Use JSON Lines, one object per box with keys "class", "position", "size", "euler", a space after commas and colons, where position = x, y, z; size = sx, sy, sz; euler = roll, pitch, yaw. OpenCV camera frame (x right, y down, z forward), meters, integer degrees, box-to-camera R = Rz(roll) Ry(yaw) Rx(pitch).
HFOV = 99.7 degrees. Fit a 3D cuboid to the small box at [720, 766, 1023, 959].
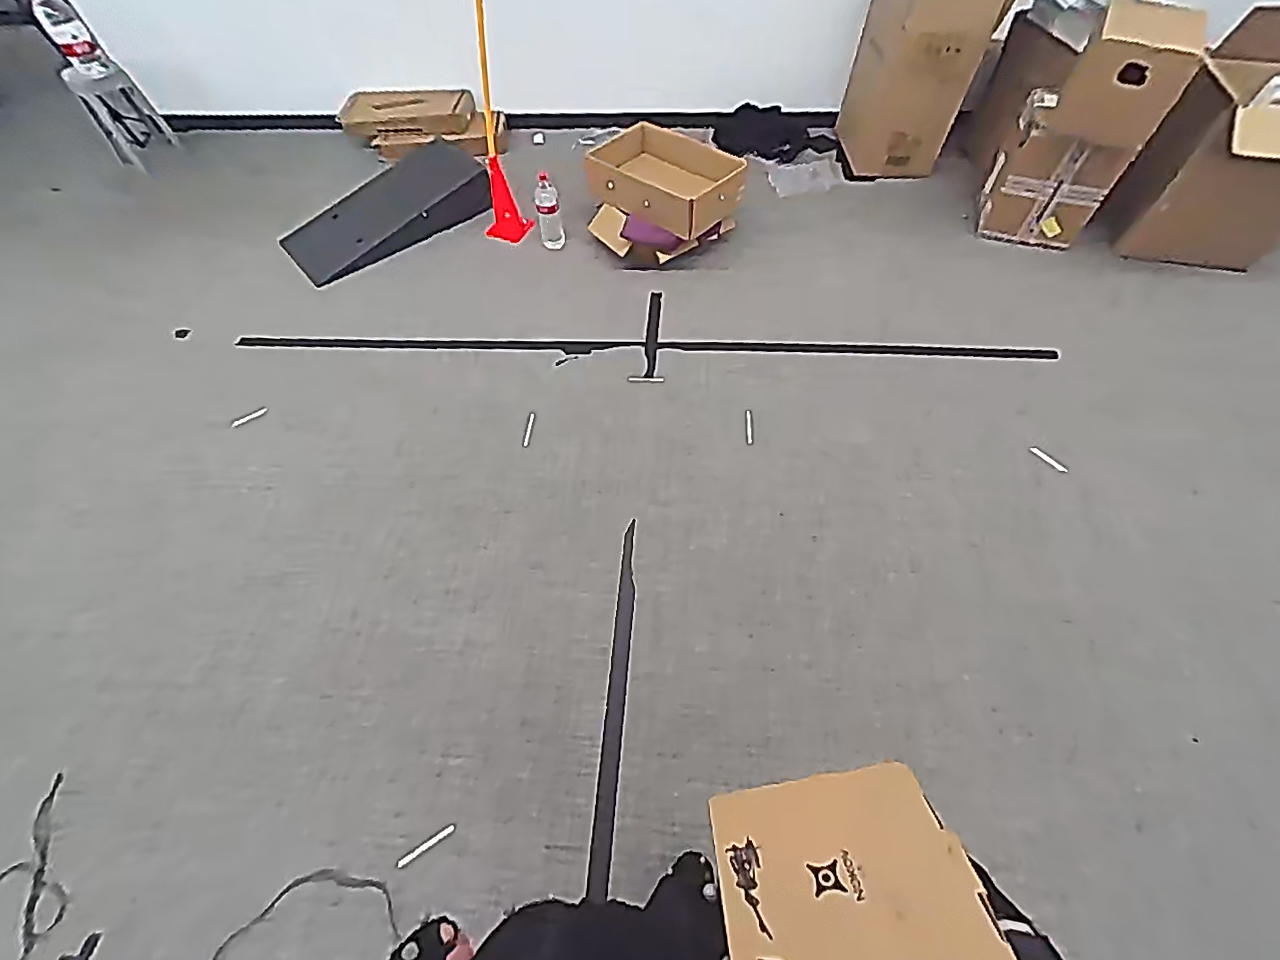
{"class": "small box", "position": [0.172, 0.368, 0.429], "size": [0.179, 0.176, 0.168], "euler": [-12, 19, 4]}
